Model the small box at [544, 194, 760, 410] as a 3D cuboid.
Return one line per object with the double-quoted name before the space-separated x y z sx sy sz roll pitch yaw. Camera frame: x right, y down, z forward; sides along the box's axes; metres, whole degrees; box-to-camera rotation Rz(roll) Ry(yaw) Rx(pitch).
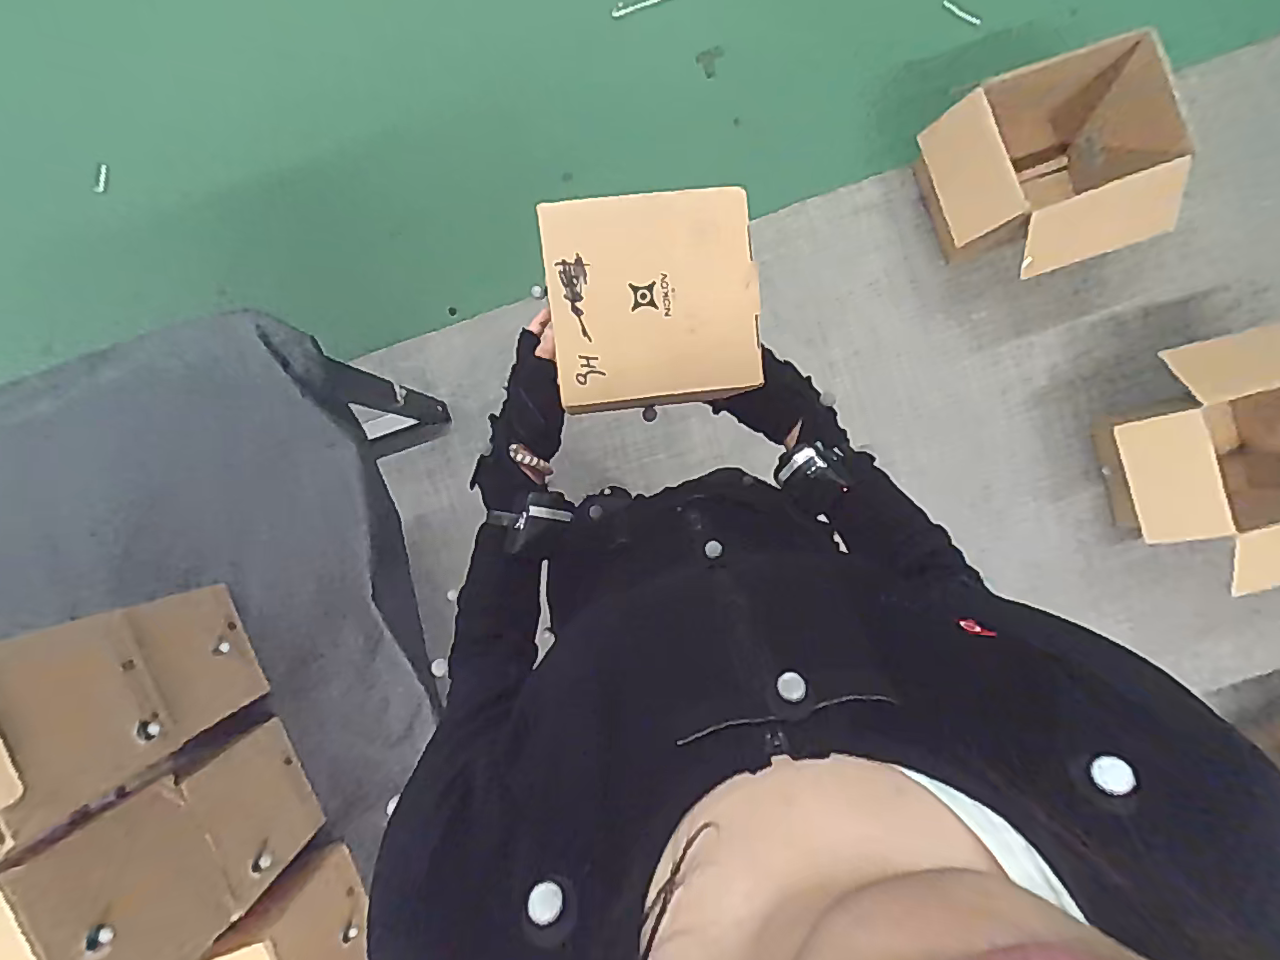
"small box" 0.004 -0.160 0.534 0.179 0.176 0.168 -6 94 -5
